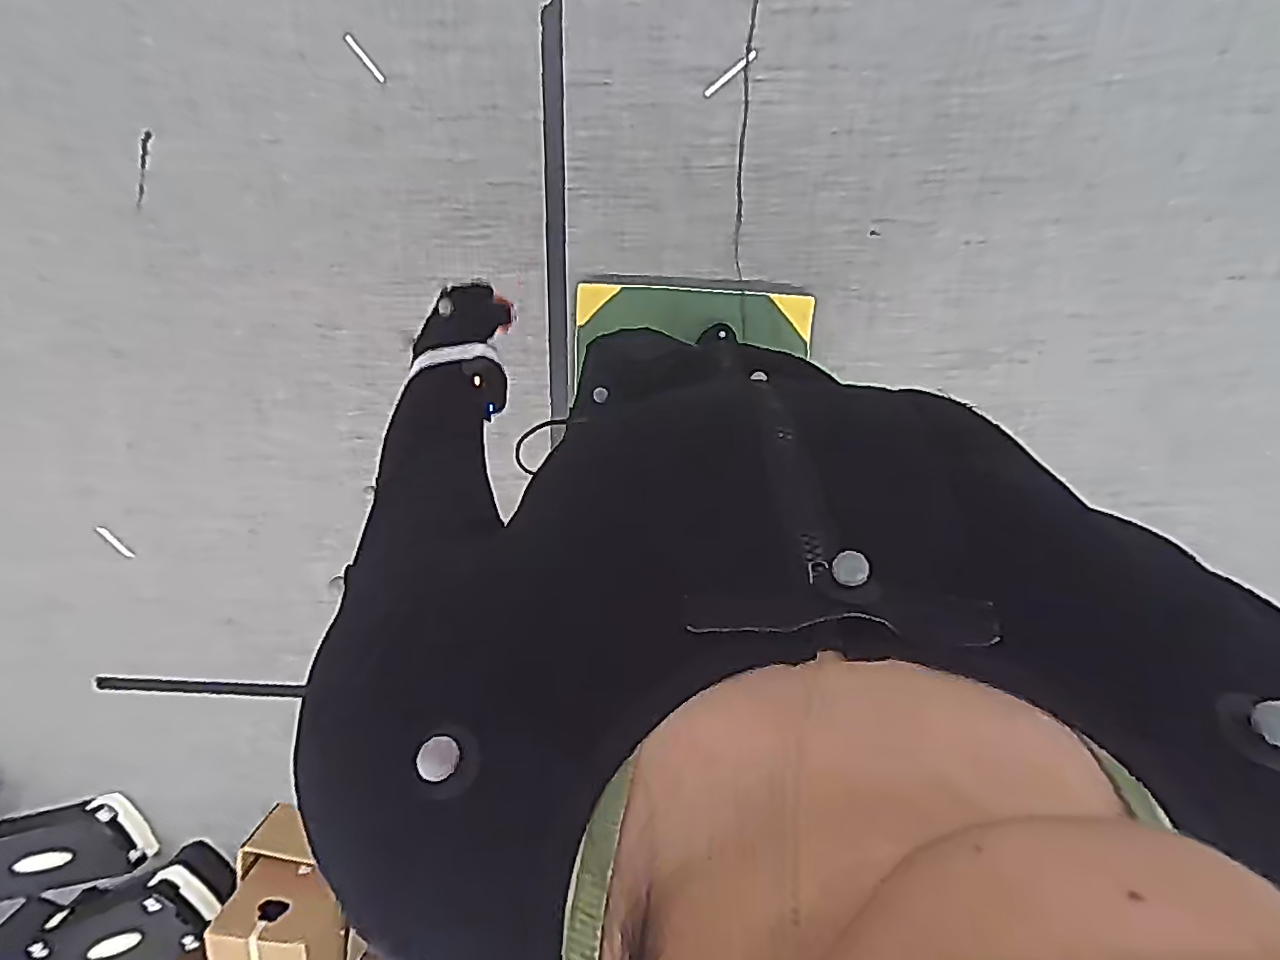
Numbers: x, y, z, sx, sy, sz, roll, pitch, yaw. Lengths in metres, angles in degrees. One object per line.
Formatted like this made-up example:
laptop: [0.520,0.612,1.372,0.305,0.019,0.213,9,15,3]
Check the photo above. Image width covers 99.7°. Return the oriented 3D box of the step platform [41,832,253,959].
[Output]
step platform: [-1.832,1.585,2.011,0.684,0.204,0.286,-26,104,9]
